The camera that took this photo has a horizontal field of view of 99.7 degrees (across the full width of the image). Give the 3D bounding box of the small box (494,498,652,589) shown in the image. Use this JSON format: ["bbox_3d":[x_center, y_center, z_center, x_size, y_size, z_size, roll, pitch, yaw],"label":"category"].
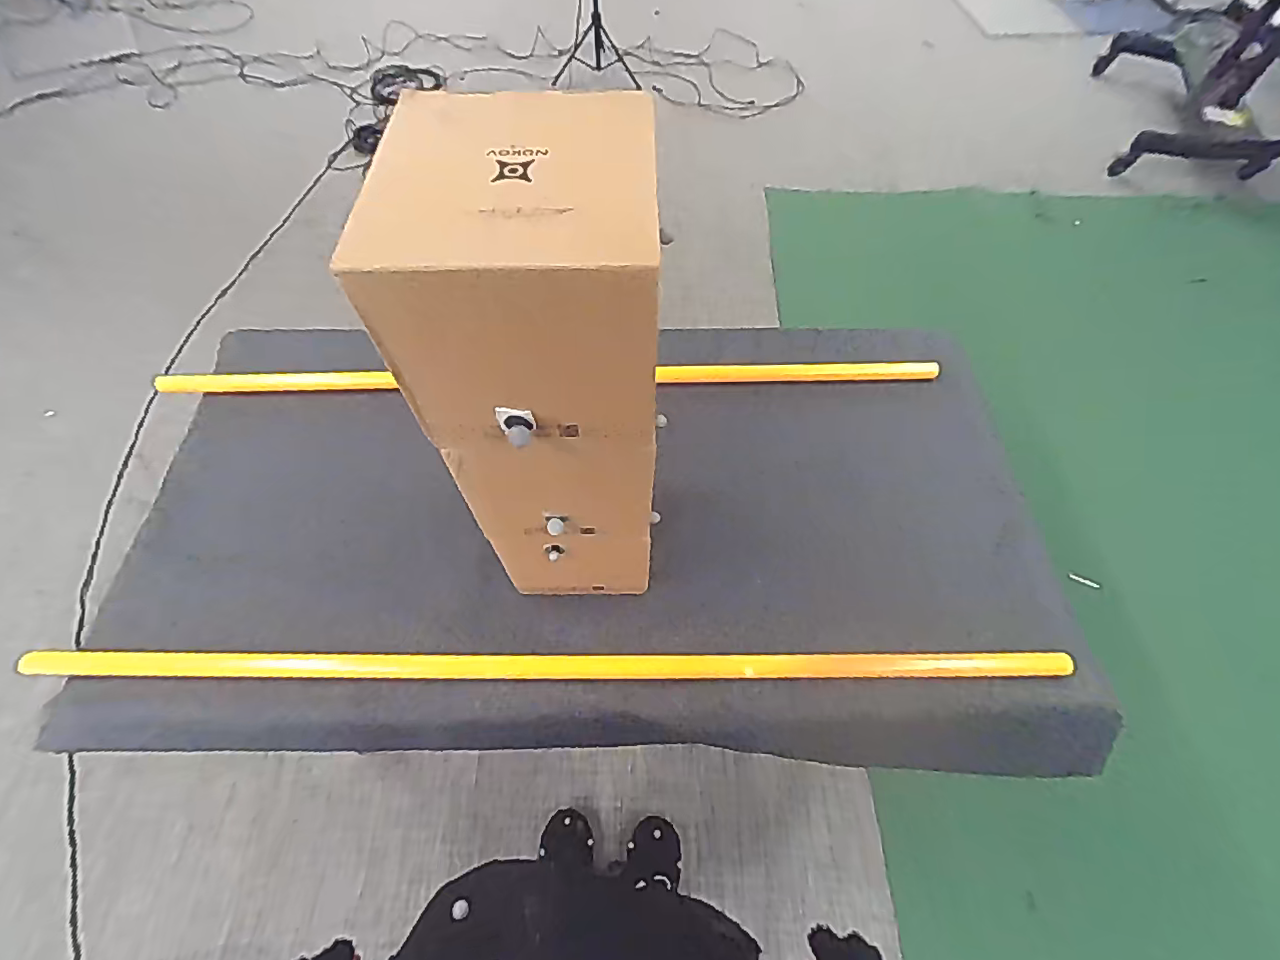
[{"bbox_3d":[-0.071,0.023,0.670,0.168,0.176,0.179,-1,59,0],"label":"small box"}]

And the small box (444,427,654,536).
[{"bbox_3d":[-0.073,-0.060,0.528,0.168,0.176,0.179,-1,60,-1],"label":"small box"}]

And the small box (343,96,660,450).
[{"bbox_3d":[-0.072,-0.139,0.388,0.168,0.176,0.179,-2,61,0],"label":"small box"}]
